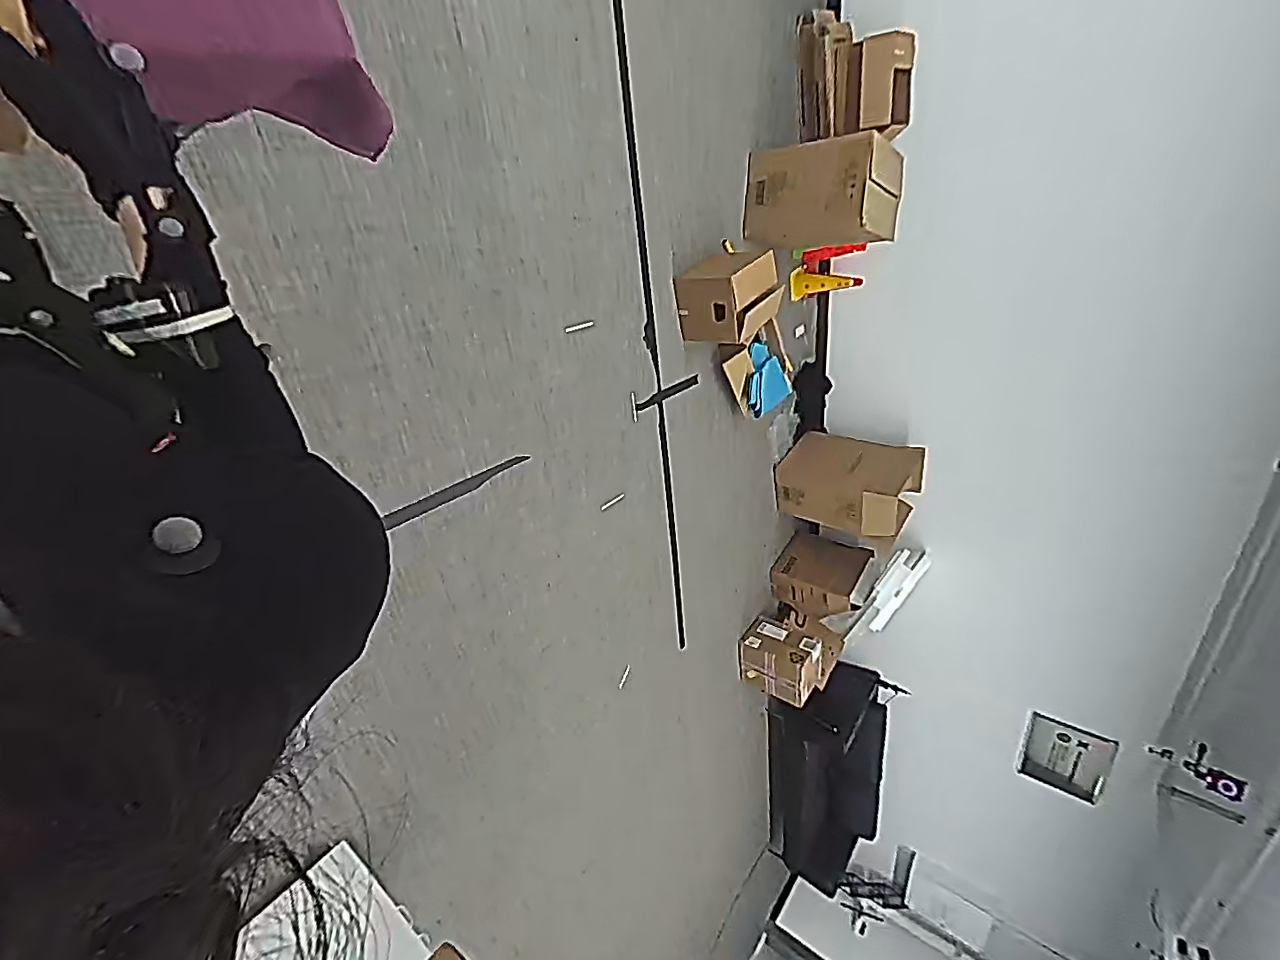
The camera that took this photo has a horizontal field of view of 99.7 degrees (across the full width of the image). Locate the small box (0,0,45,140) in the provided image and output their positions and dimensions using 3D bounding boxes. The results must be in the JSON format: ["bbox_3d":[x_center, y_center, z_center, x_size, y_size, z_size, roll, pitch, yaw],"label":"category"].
[{"bbox_3d":[-0.509,-0.346,0.326,0.168,0.176,0.179,-19,107,-48],"label":"small box"}]
